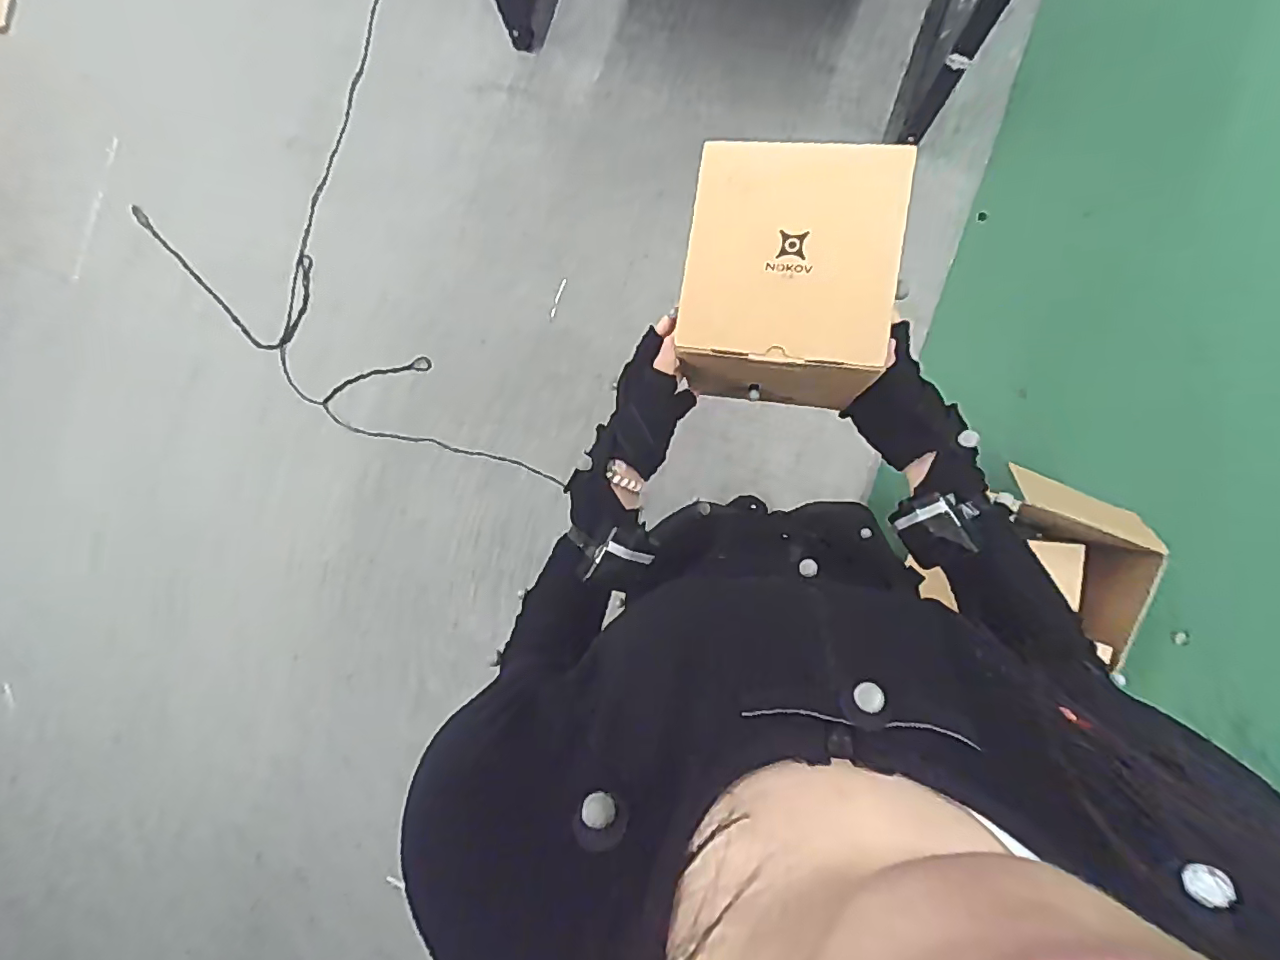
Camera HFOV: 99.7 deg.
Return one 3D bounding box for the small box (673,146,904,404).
[{"bbox_3d":[0.132,-0.181,0.519,0.168,0.176,0.179,8,90,11],"label":"small box"}]
